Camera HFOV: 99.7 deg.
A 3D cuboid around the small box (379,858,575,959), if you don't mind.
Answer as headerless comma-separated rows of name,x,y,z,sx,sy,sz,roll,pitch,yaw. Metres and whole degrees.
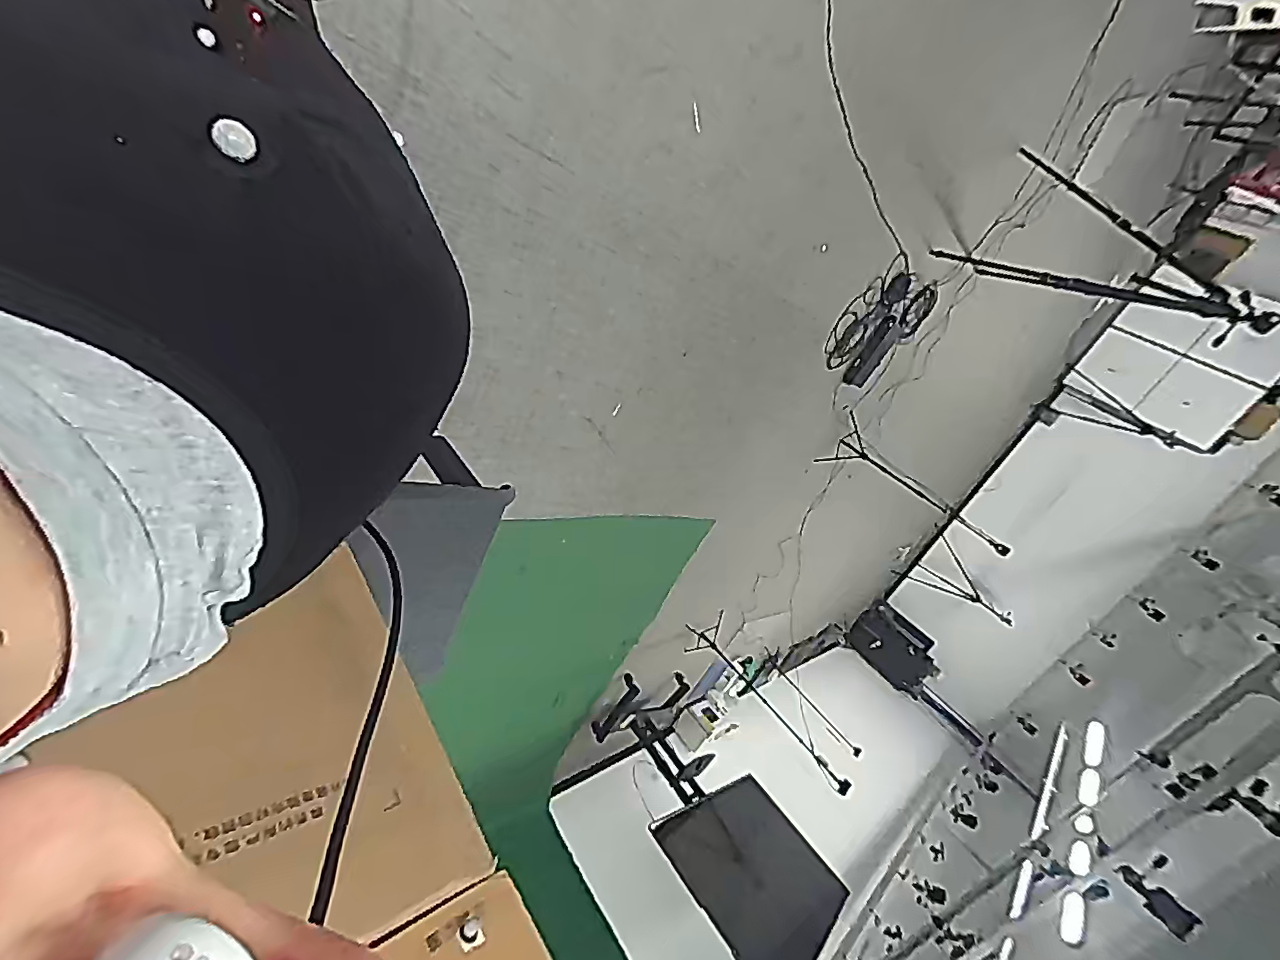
small box,-0.178,0.555,0.568,0.168,0.176,0.179,1,123,-52
